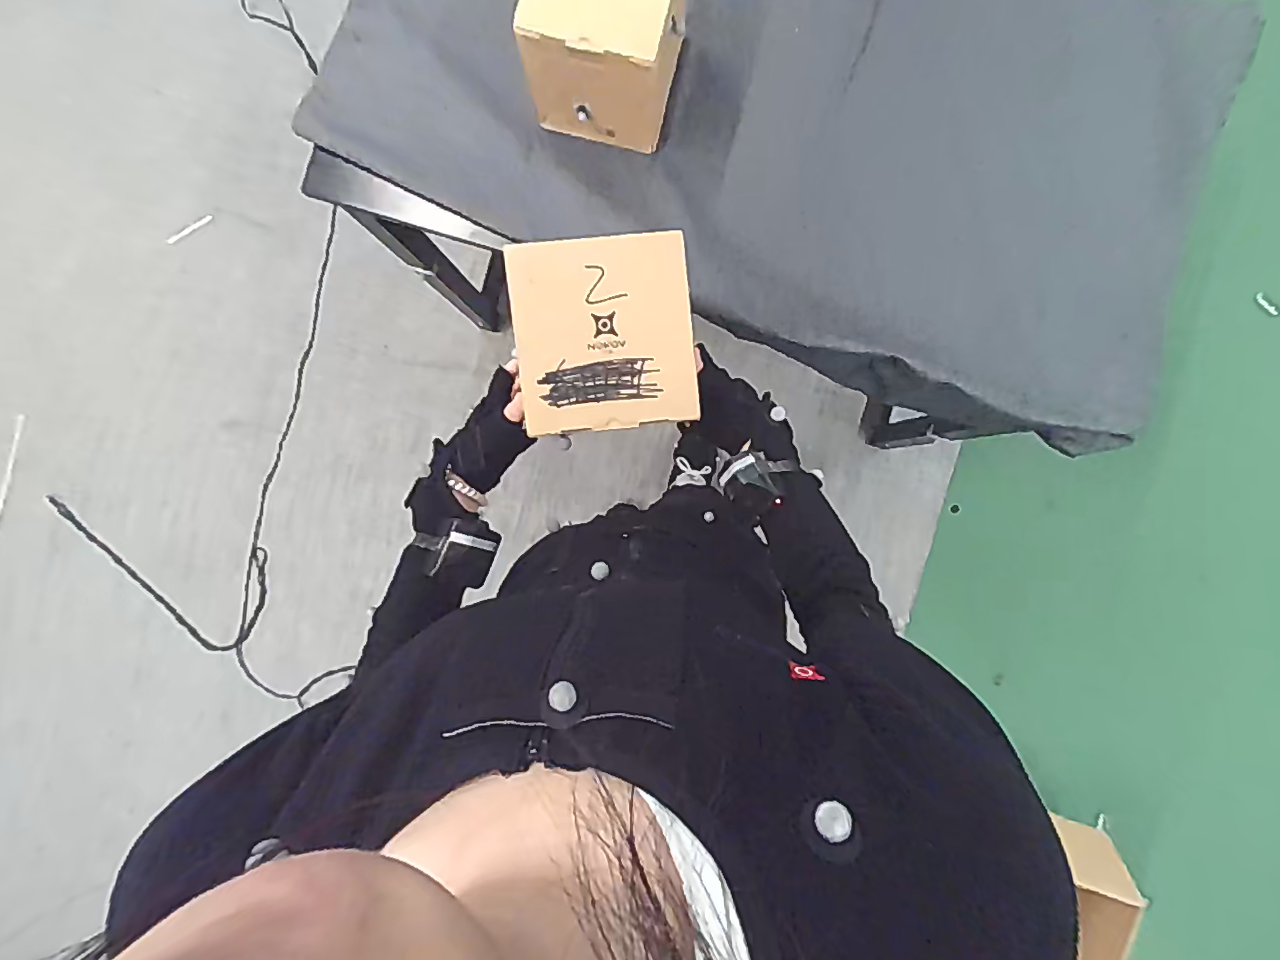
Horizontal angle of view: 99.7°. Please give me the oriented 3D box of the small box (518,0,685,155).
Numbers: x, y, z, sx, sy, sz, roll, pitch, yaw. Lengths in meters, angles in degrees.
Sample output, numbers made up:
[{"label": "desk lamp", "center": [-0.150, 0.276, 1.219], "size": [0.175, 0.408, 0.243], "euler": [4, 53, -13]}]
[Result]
[{"label": "small box", "center": [-0.040, -0.564, 0.690], "size": [0.168, 0.176, 0.179], "euler": [14, 91, 0]}]
